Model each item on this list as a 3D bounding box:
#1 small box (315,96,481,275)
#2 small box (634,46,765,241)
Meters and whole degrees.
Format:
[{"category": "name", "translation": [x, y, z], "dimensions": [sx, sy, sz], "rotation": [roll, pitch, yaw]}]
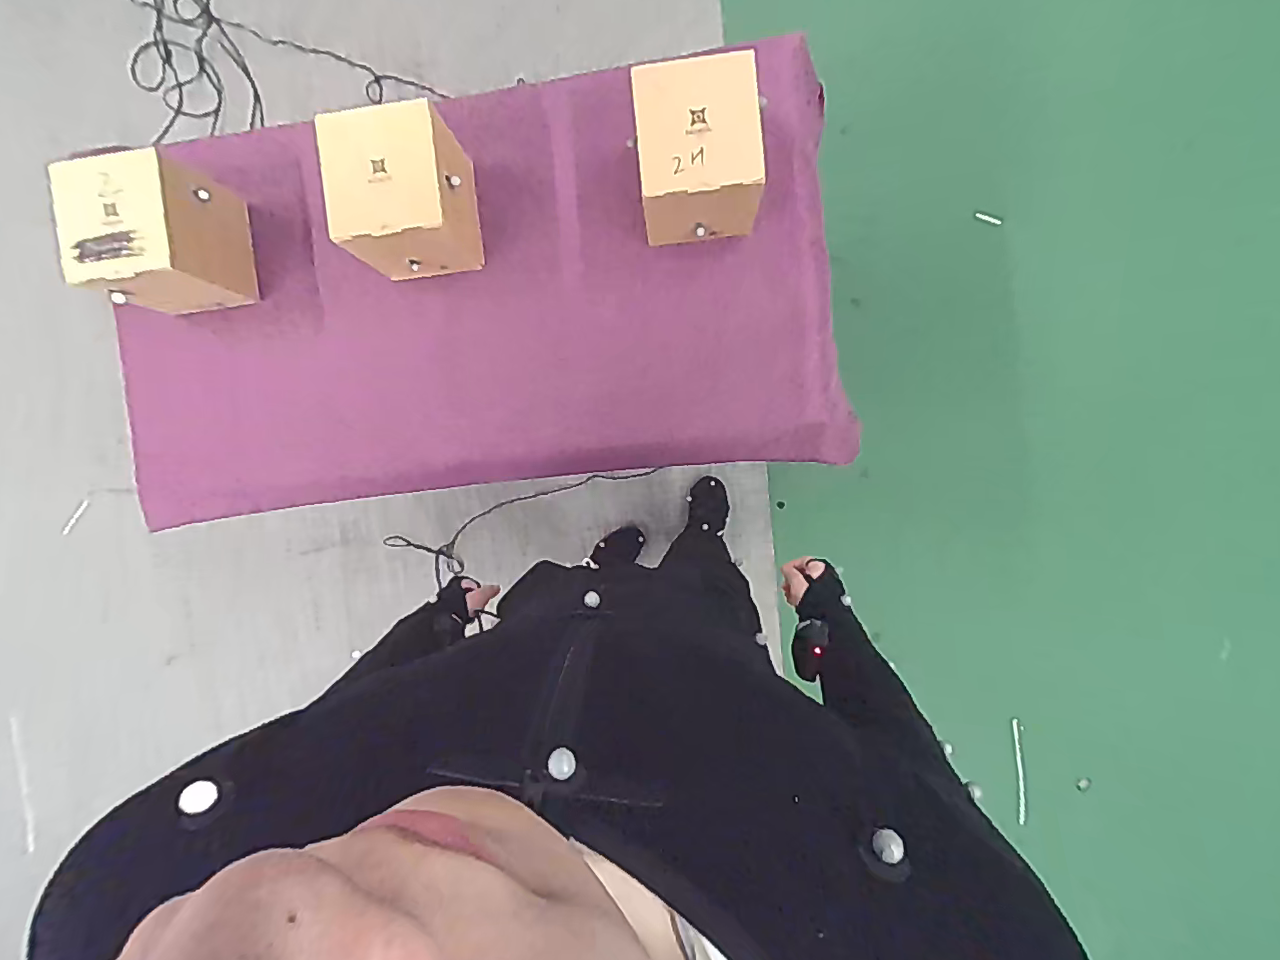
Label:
[{"category": "small box", "translation": [-0.354, -0.434, 0.821], "dimensions": [0.168, 0.176, 0.179], "rotation": [-6, 93, 3]}, {"category": "small box", "translation": [0.083, -0.479, 0.794], "dimensions": [0.168, 0.176, 0.179], "rotation": [-5, 92, 4]}]
